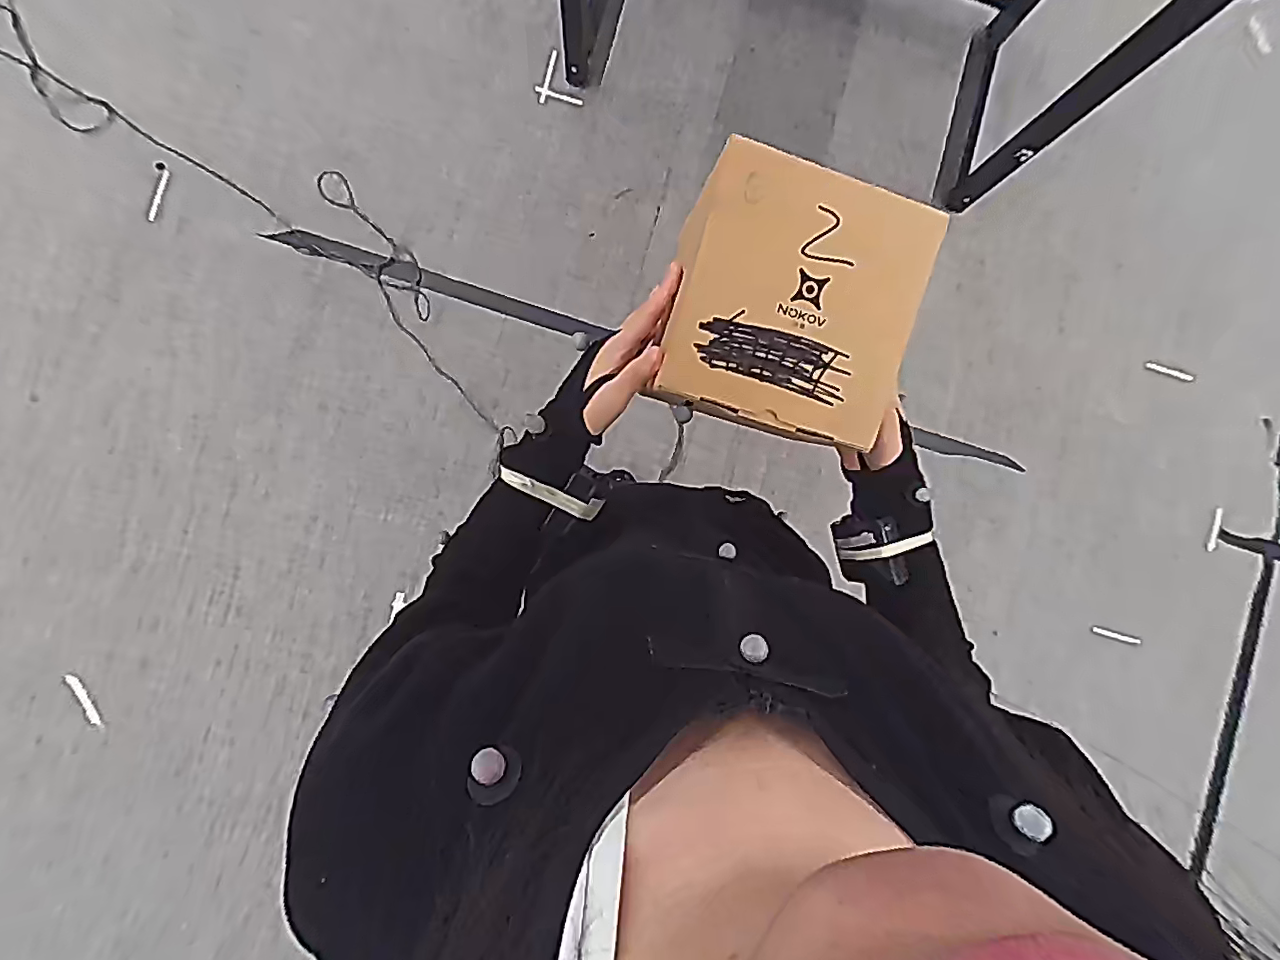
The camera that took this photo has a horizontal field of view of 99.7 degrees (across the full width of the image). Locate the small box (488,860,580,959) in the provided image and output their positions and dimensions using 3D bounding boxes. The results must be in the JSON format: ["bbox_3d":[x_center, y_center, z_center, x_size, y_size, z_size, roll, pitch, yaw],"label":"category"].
[{"bbox_3d":[-0.264,1.120,1.379,0.179,0.176,0.168,24,87,-5],"label":"small box"}]
